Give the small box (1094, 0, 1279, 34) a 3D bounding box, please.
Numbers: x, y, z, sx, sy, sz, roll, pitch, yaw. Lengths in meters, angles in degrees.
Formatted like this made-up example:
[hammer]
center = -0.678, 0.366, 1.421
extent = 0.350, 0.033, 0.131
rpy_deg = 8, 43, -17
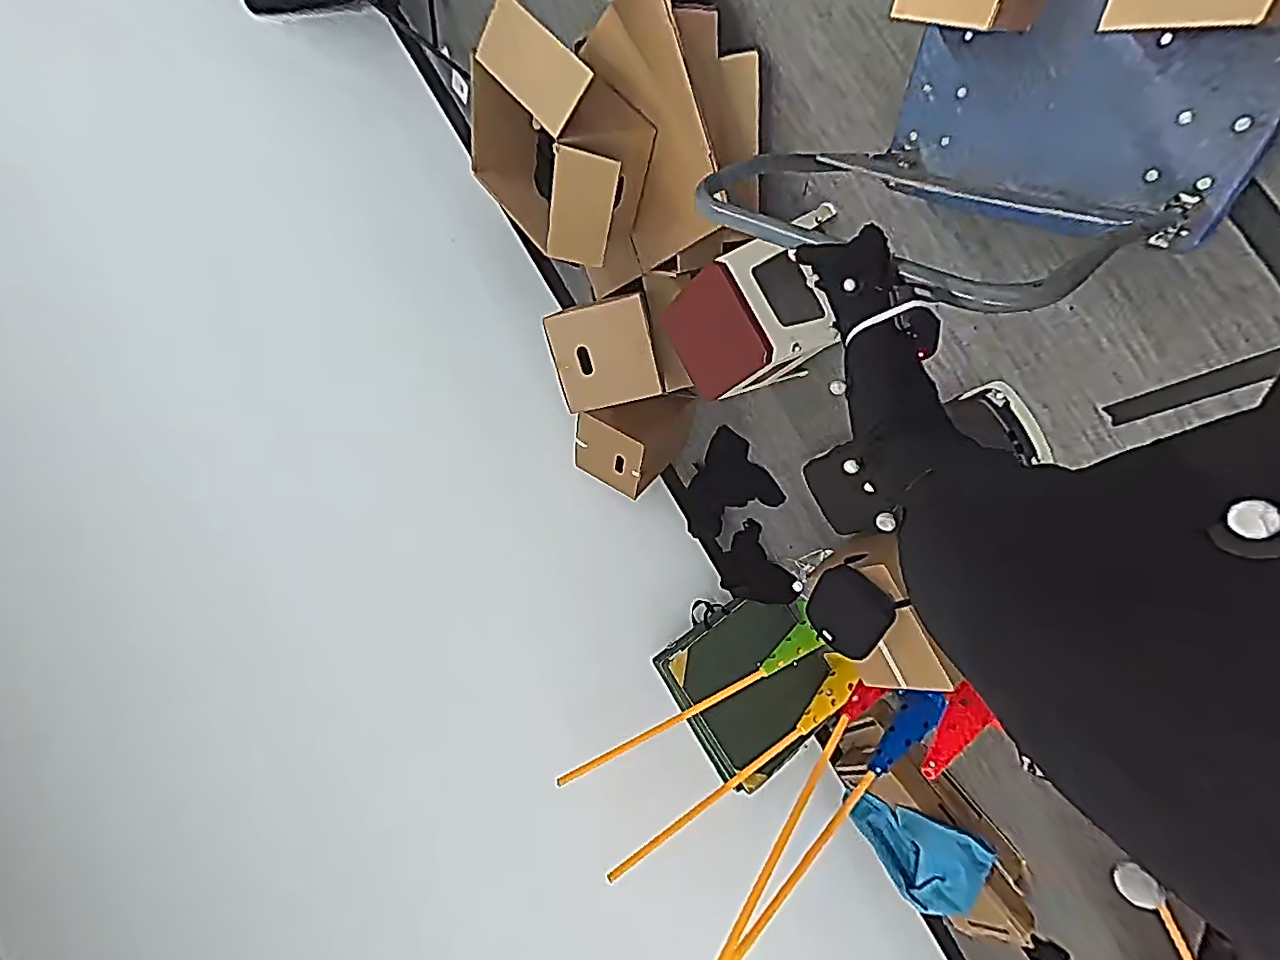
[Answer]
[small box]
center = 0.754, -0.688, 0.700
extent = 0.179, 0.176, 0.168
rpy_deg = 35, 140, 37
